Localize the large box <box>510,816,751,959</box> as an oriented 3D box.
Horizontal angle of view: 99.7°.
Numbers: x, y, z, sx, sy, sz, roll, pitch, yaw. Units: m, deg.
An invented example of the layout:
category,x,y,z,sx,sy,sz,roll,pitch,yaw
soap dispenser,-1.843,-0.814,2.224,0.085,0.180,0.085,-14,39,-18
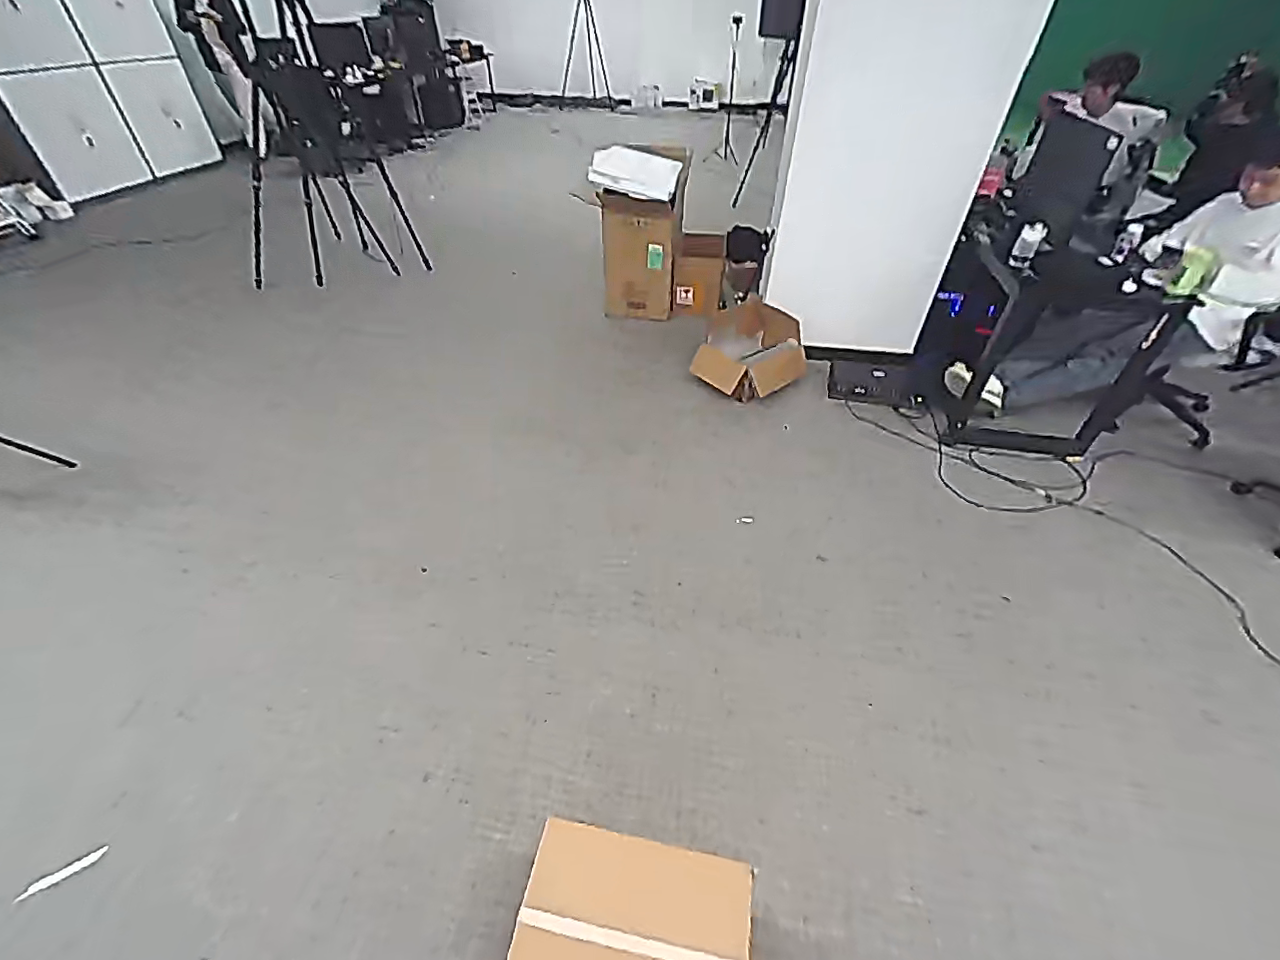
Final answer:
category,x,y,z,sx,sy,sz,roll,pitch,yaw
large box,-0.018,0.901,1.033,0.408,0.320,0.320,9,43,7
